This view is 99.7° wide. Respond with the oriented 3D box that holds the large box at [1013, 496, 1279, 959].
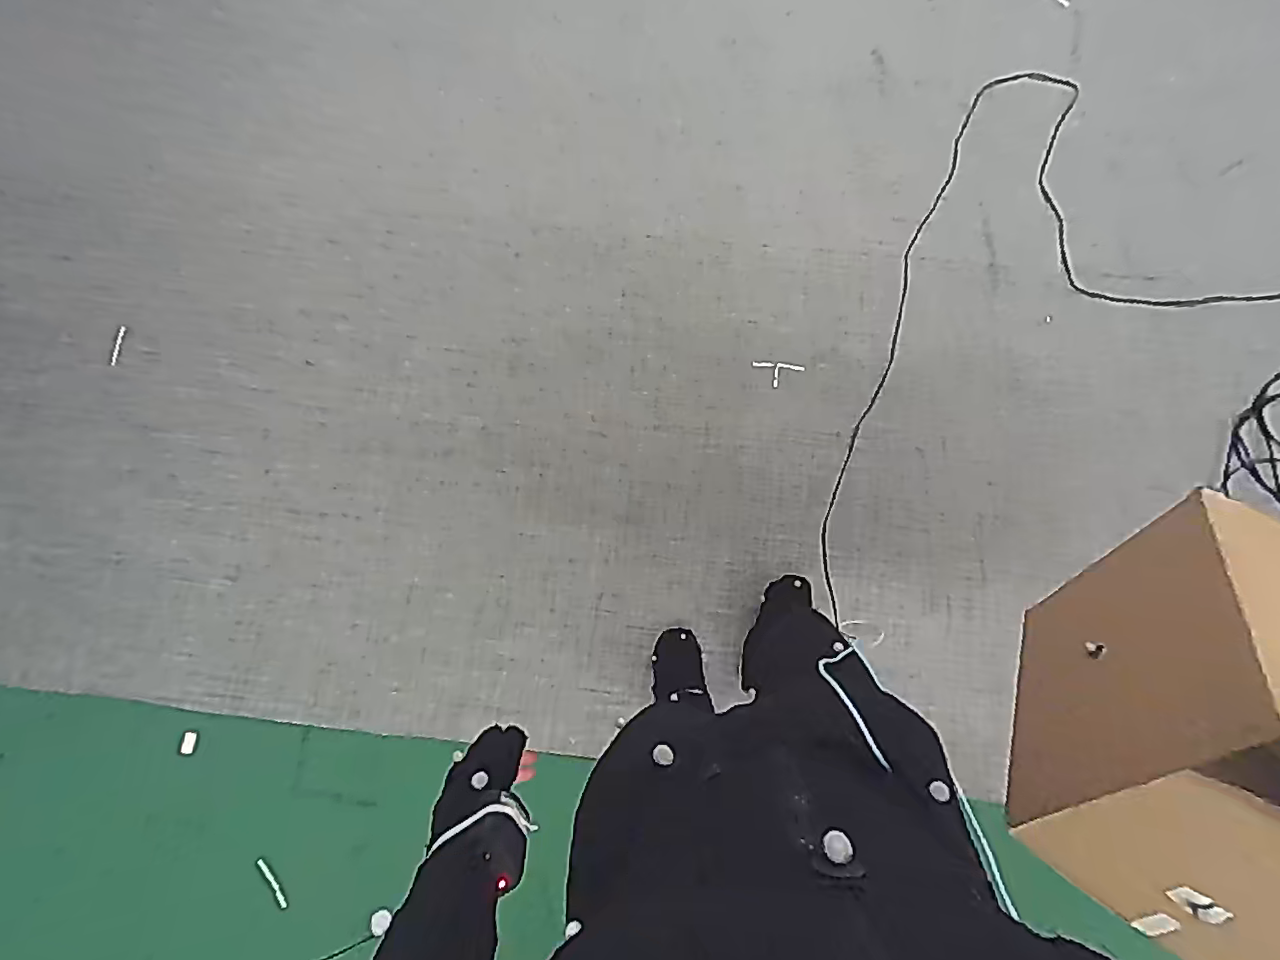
[{"bbox_3d":[0.695,0.299,0.631,0.320,0.320,0.408,35,44,14],"label":"large box"}]
